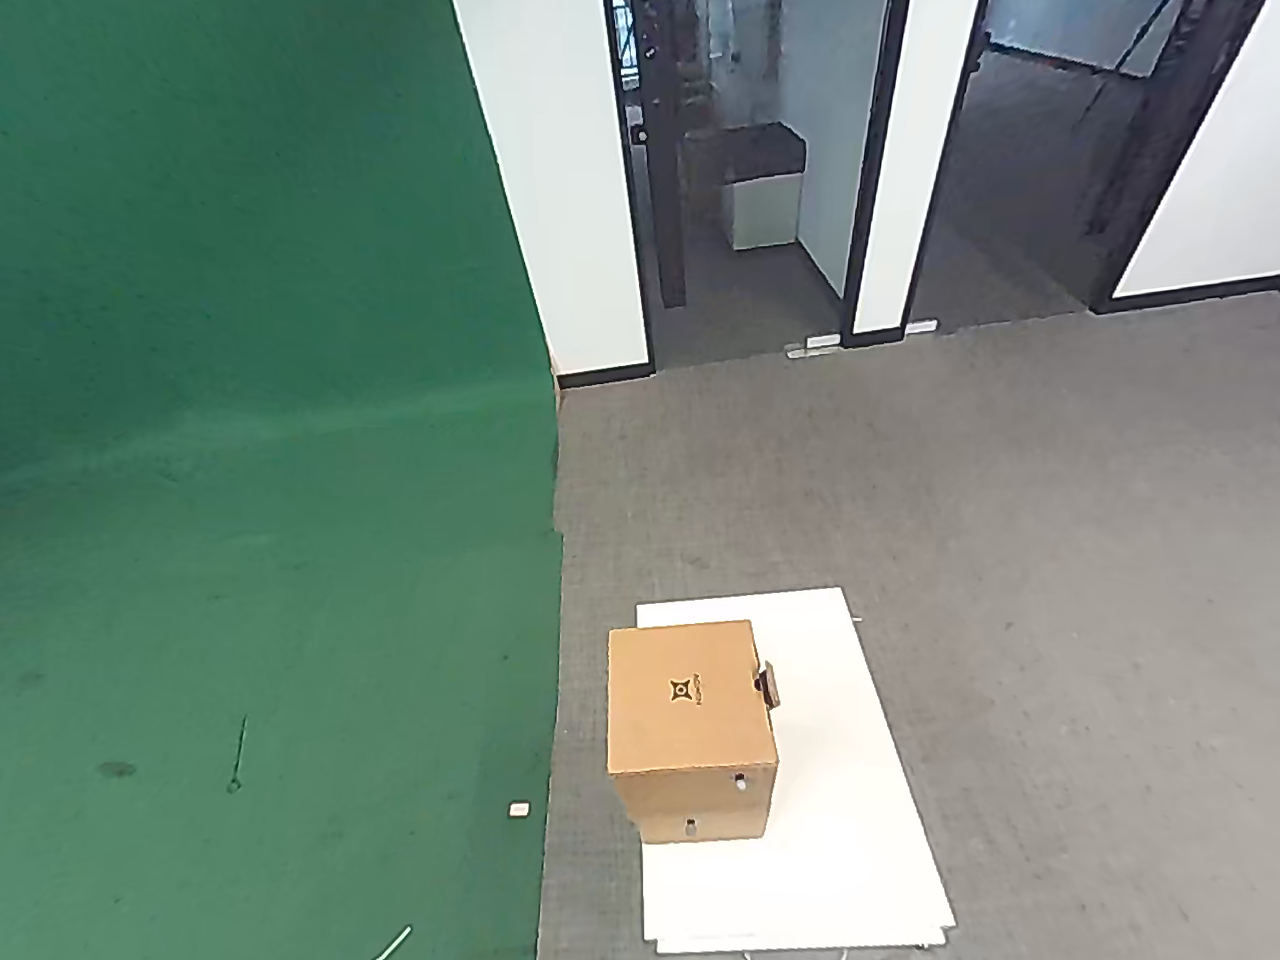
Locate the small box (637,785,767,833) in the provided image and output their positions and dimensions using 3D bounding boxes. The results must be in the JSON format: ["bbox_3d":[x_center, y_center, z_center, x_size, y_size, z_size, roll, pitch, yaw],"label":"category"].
[{"bbox_3d":[0.079,0.391,0.776,0.179,0.176,0.168,-6,45,4],"label":"small box"}]

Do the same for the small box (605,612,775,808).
[{"bbox_3d":[0.057,0.282,0.656,0.179,0.176,0.168,-5,45,2],"label":"small box"}]
